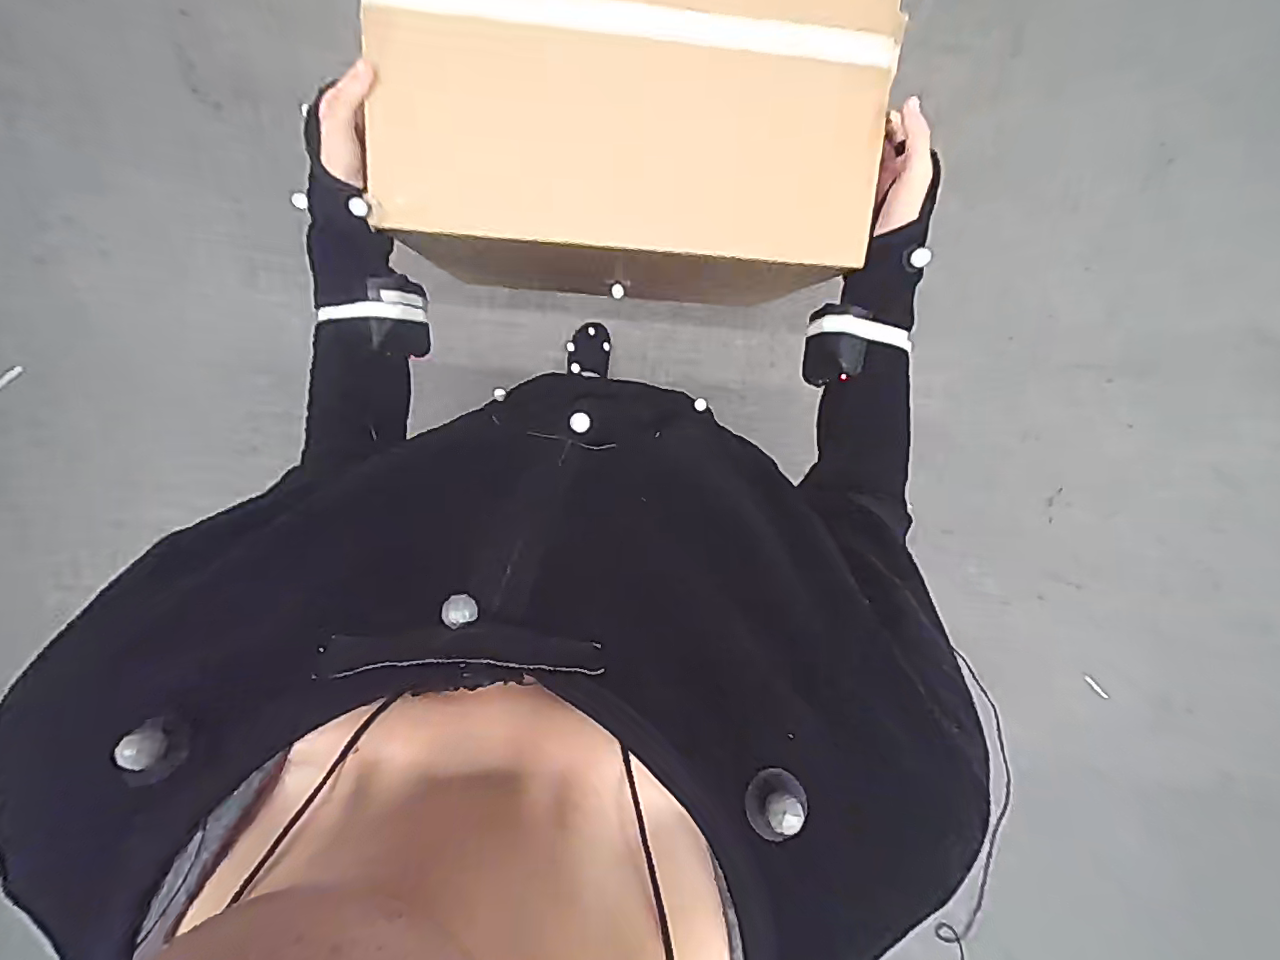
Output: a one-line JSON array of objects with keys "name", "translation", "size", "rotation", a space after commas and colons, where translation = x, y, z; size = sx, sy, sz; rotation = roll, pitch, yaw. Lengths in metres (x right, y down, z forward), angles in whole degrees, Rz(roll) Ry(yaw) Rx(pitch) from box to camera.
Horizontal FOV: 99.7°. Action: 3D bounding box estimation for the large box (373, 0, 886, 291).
[{"name": "large box", "translation": [-0.014, -0.382, 0.567], "size": [0.408, 0.320, 0.320], "rotation": [2, 102, -5]}]
